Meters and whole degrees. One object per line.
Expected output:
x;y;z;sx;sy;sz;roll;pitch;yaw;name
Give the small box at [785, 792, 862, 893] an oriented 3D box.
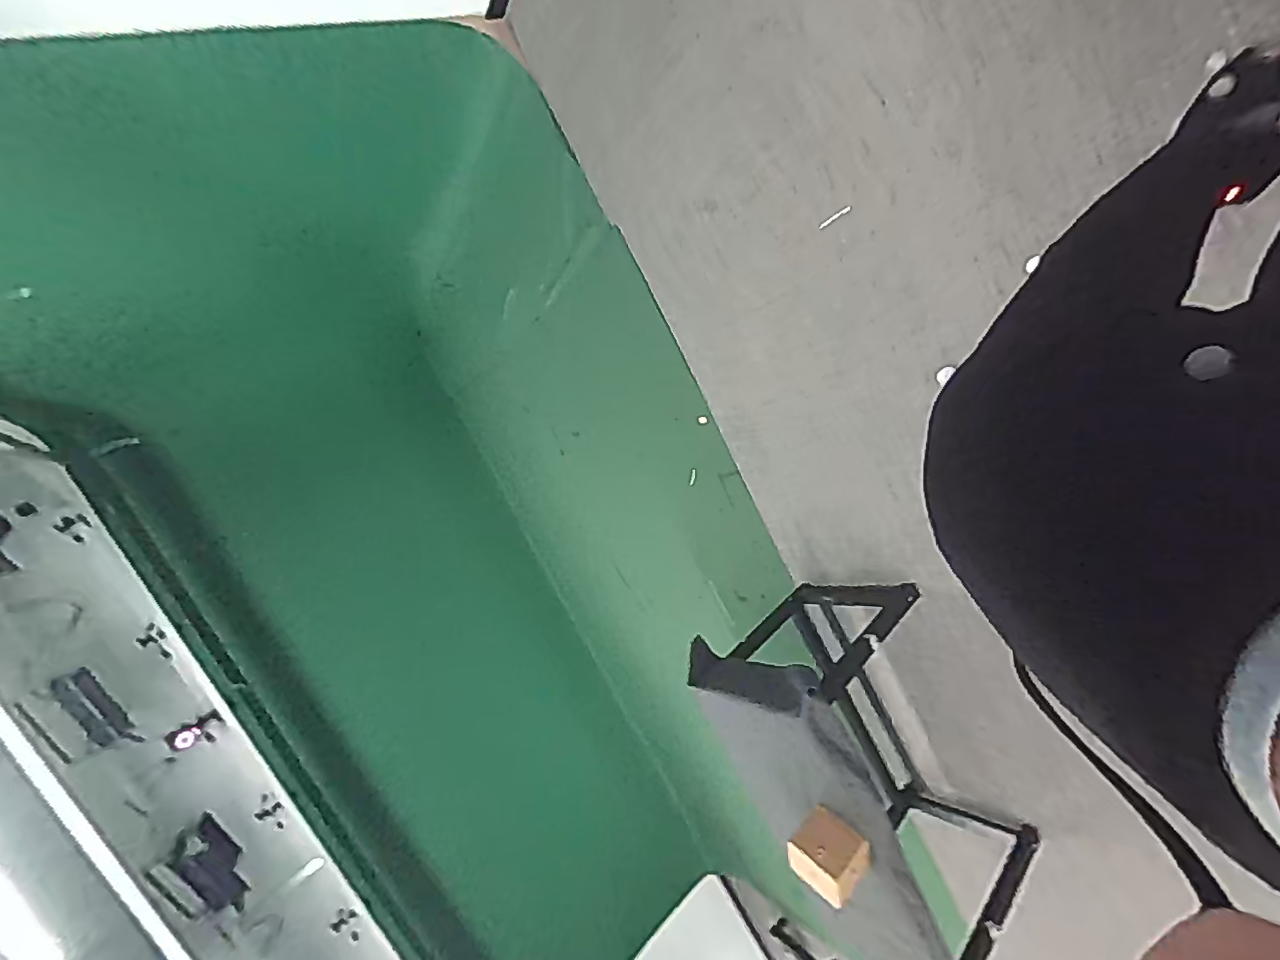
0.591;1.147;1.724;0.179;0.176;0.168;22;134;47;small box
